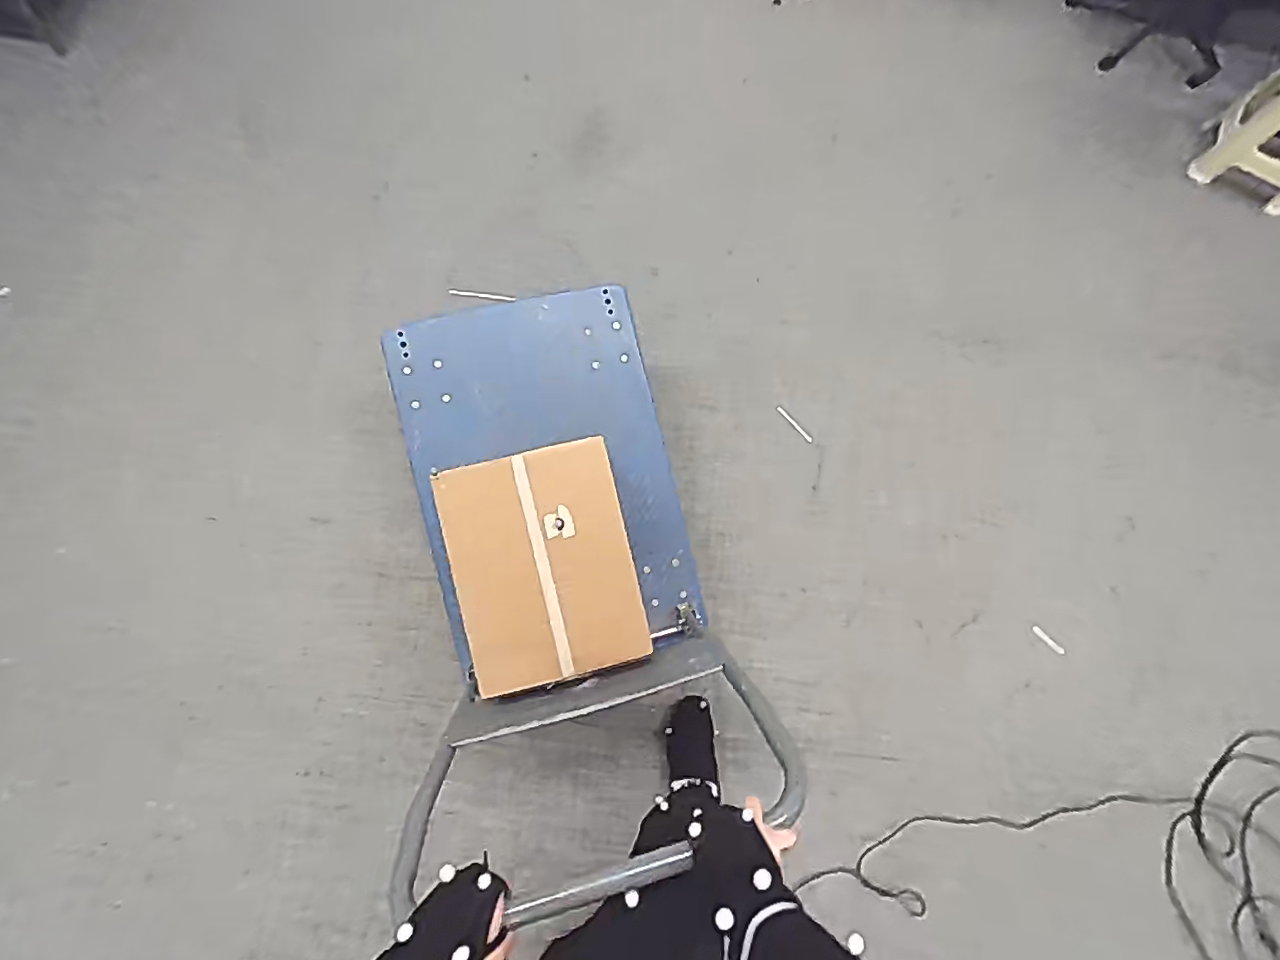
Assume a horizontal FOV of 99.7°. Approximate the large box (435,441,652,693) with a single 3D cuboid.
[{"bbox_3d":[-0.183,0.162,1.124,0.320,0.320,0.408,-14,88,-6],"label":"large box"}]
